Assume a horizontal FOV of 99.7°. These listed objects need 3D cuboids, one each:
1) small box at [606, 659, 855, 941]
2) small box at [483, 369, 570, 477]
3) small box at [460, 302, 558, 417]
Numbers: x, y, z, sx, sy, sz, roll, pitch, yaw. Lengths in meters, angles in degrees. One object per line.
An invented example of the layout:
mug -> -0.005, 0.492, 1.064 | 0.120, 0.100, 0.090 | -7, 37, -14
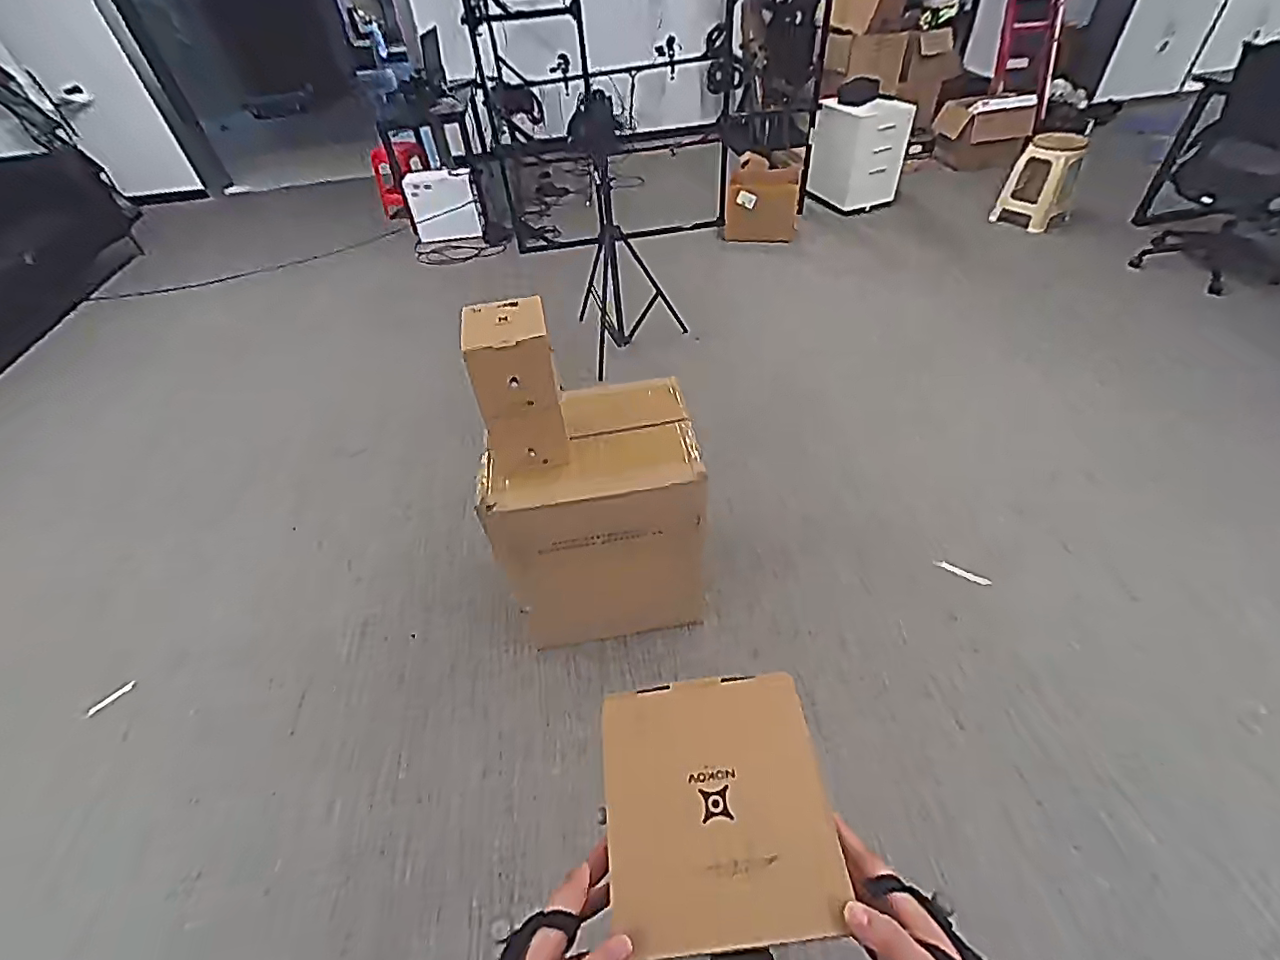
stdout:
small box -> 0.062, 0.282, 0.476 | 0.168, 0.176, 0.179 | -7, 49, 0
small box -> -0.262, -0.133, 1.263 | 0.168, 0.176, 0.179 | -10, 46, -5
small box -> -0.274, -0.249, 1.147 | 0.168, 0.176, 0.179 | -11, 46, -6
